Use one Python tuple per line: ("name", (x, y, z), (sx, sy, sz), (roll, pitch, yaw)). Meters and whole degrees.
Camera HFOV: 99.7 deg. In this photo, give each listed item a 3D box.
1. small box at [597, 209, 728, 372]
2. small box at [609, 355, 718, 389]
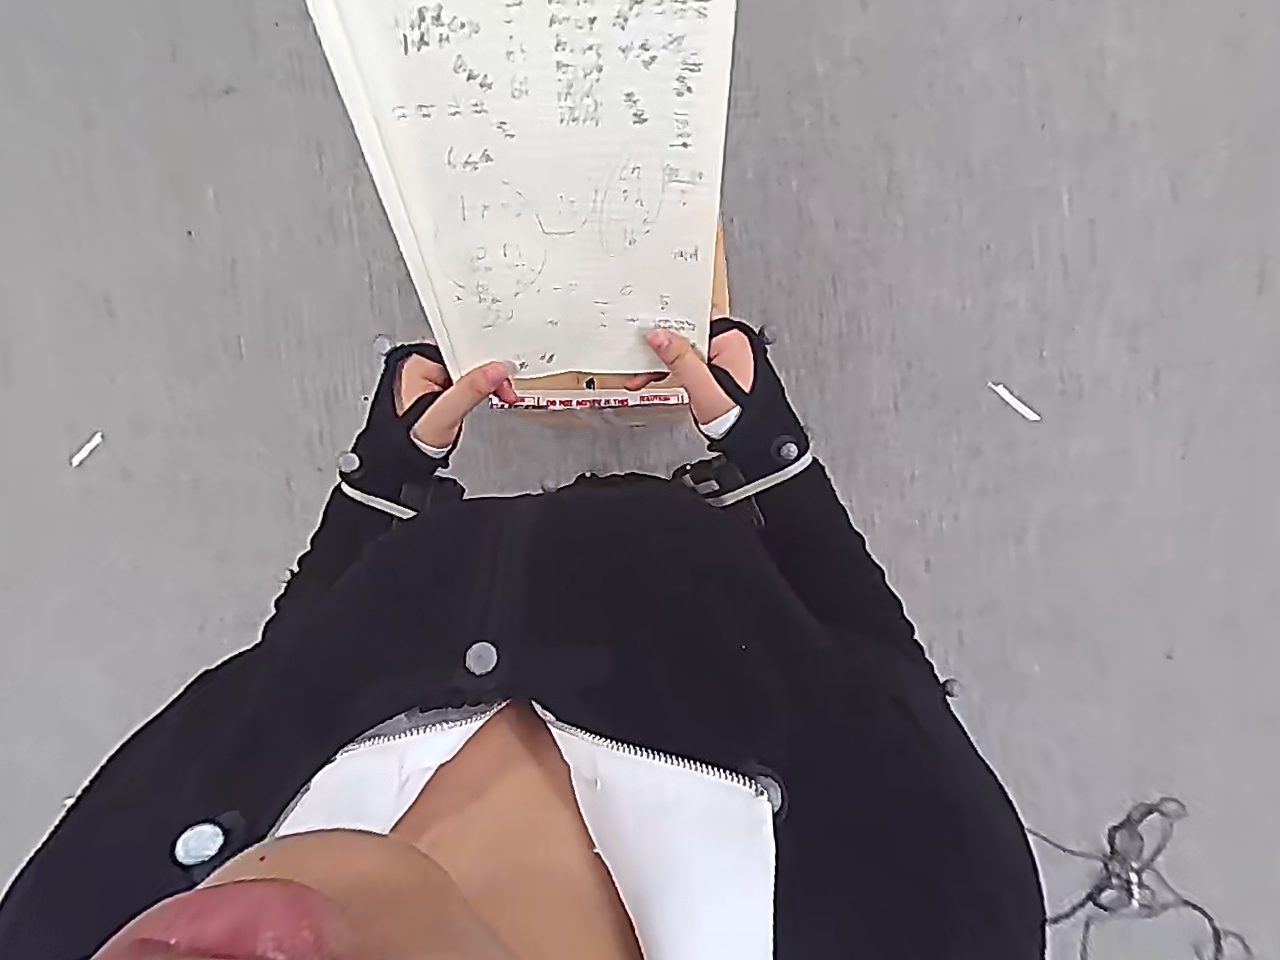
("small box", (0.027, -0.263, 0.782), (0.168, 0.176, 0.179), (-4, 91, 0))
("small box", (0.030, -0.258, 0.946), (0.179, 0.176, 0.168), (-7, 91, 1))
